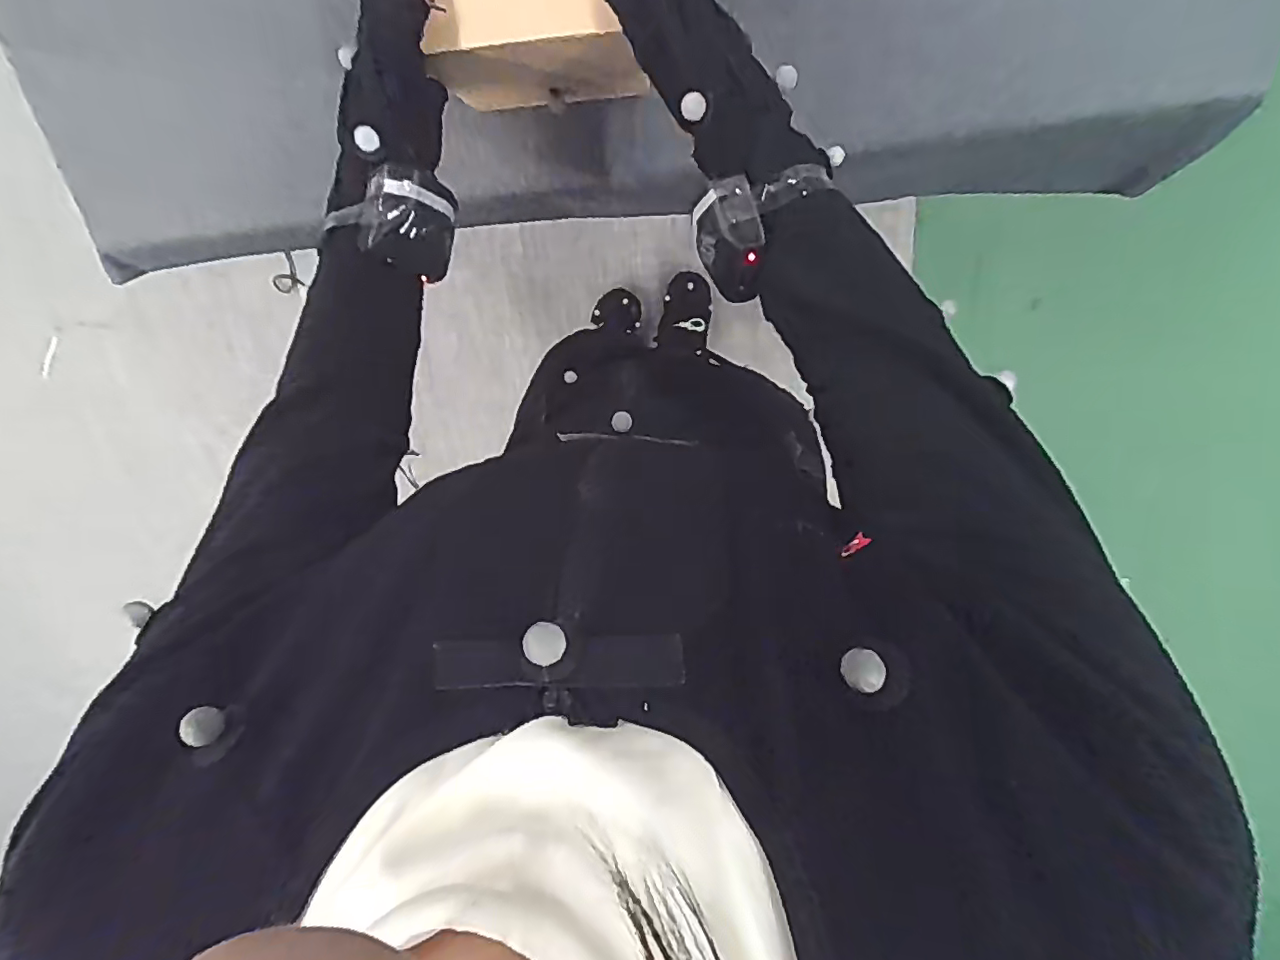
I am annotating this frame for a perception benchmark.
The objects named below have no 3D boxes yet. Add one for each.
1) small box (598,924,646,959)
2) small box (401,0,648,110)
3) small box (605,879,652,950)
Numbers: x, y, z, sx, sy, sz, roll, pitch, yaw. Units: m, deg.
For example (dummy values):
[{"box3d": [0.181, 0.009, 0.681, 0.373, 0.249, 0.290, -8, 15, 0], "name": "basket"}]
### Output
[{"box3d": [-0.065, 1.797, 2.010, 0.168, 0.176, 0.179, -3, 112, 4], "name": "small box"}, {"box3d": [-0.084, -0.420, 0.436, 0.179, 0.176, 0.168, -3, 112, 5], "name": "small box"}, {"box3d": [-0.042, 1.729, 2.155, 0.179, 0.176, 0.168, -1, 113, 5], "name": "small box"}]
